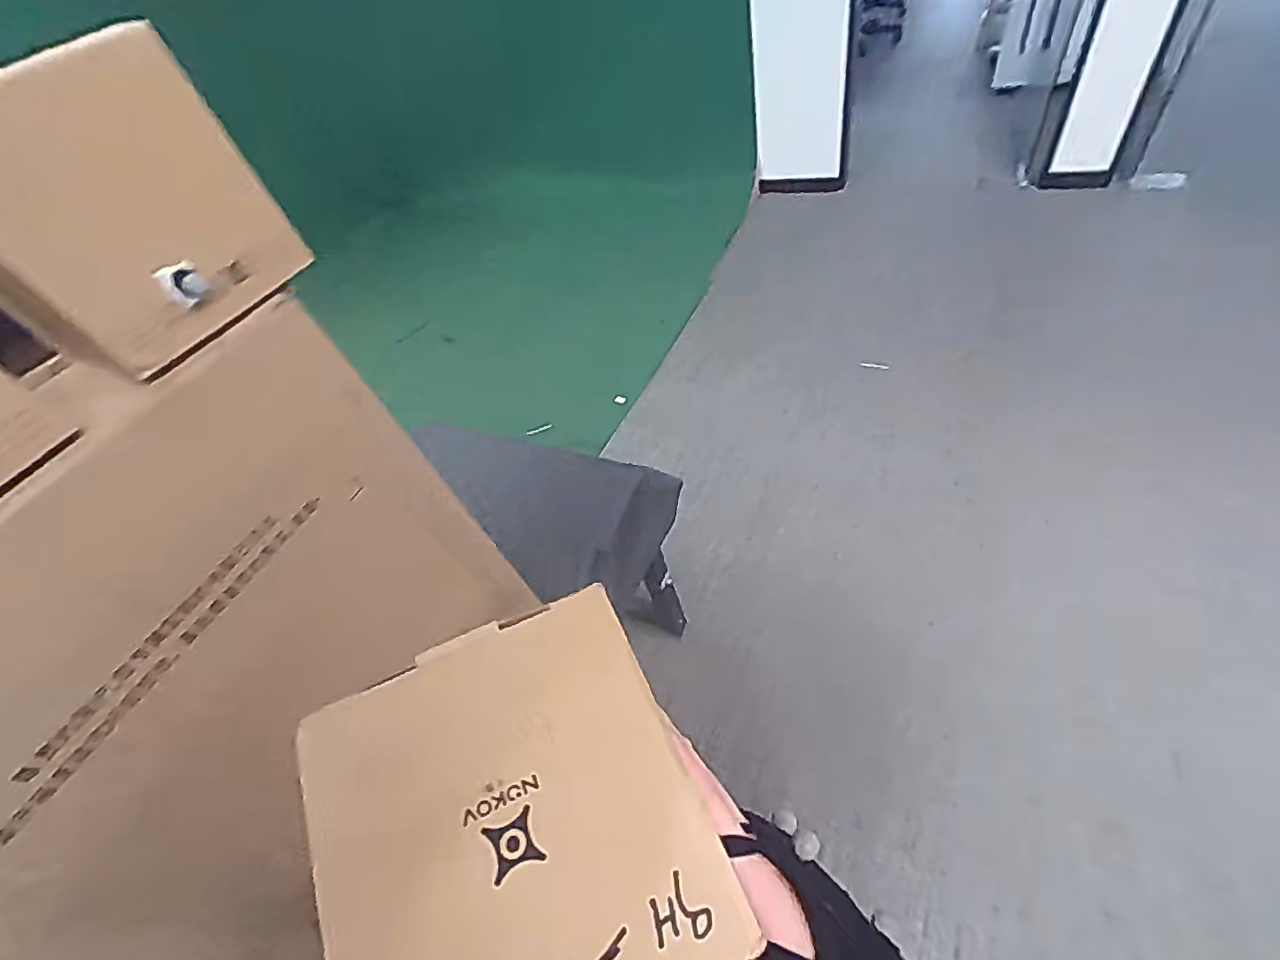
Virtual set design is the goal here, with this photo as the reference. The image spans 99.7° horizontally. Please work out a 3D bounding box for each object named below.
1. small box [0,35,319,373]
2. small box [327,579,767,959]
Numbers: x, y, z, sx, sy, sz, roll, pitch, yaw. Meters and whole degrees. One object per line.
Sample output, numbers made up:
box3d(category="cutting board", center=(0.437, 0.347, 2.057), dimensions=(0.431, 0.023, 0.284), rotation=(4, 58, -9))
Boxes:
box3d(category="small box", center=(-0.404, -0.203, 0.415), dimensions=(0.179, 0.176, 0.168), rotation=(16, 58, 25))
box3d(category="small box", center=(-0.052, 0.192, 0.320), dimensions=(0.168, 0.176, 0.179), rotation=(-22, 59, -12))
